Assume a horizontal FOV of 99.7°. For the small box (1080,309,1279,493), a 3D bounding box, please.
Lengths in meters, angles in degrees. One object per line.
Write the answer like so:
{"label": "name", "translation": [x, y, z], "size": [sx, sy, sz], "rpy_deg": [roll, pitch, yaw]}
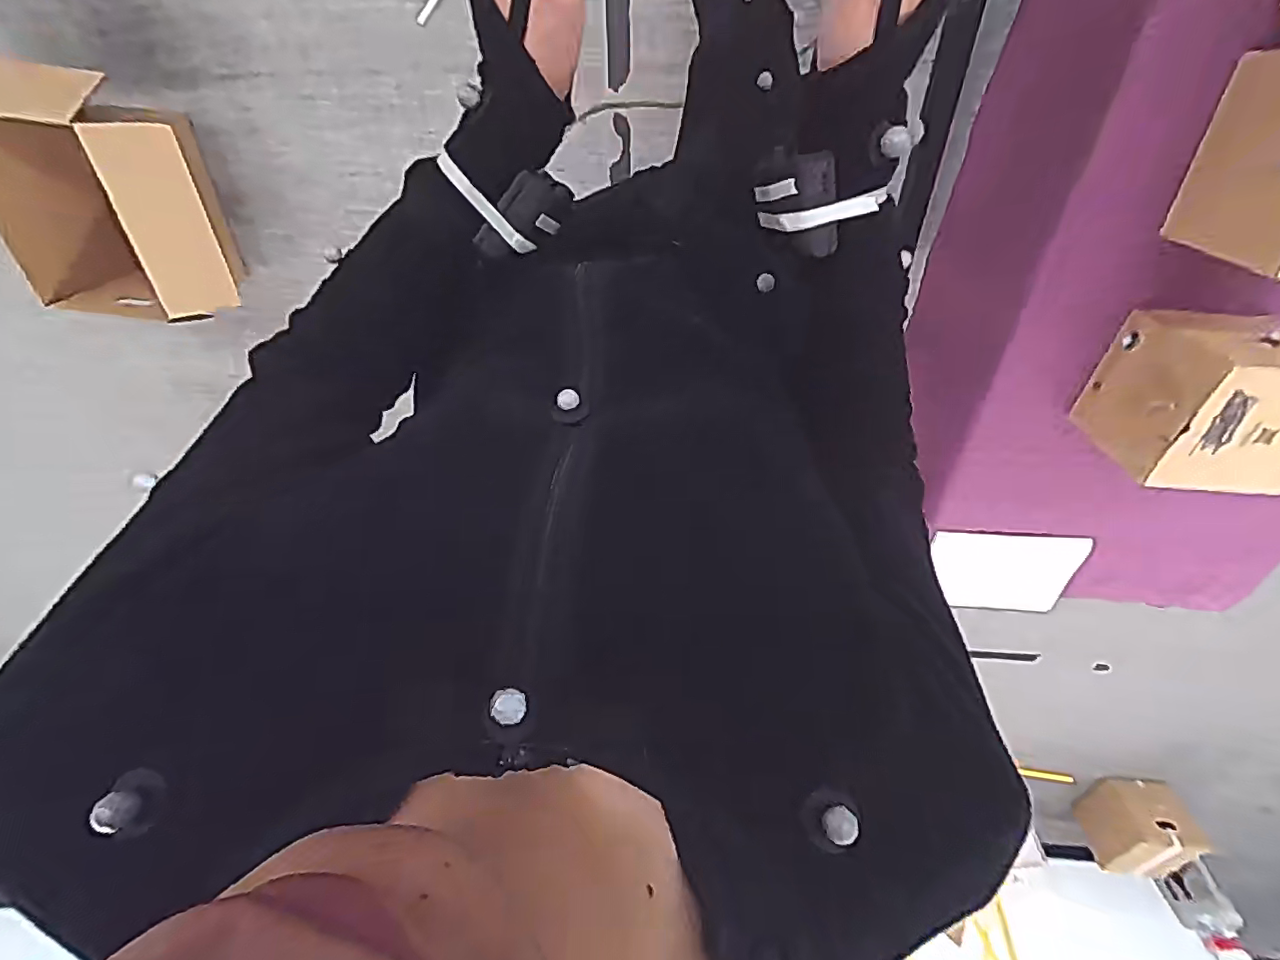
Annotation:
{"label": "small box", "translation": [0.719, -0.104, 0.680], "size": [0.179, 0.176, 0.168], "rpy_deg": [4, 129, 1]}
